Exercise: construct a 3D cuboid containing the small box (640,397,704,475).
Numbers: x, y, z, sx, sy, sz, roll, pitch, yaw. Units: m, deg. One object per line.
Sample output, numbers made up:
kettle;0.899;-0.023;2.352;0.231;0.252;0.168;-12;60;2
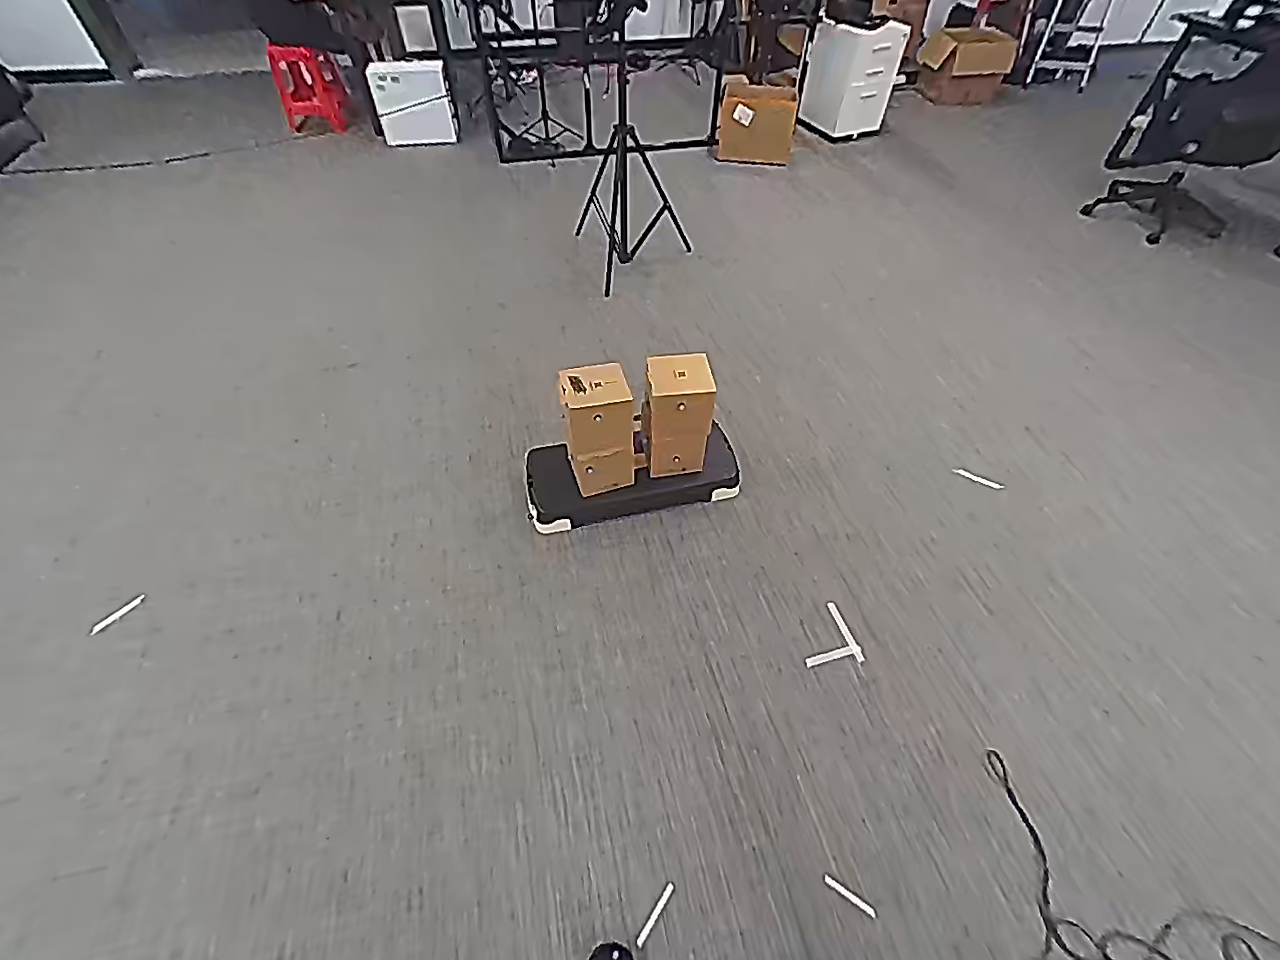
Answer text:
small box;0.095;-0.130;1.672;0.168;0.176;0.179;-8;51;-7
